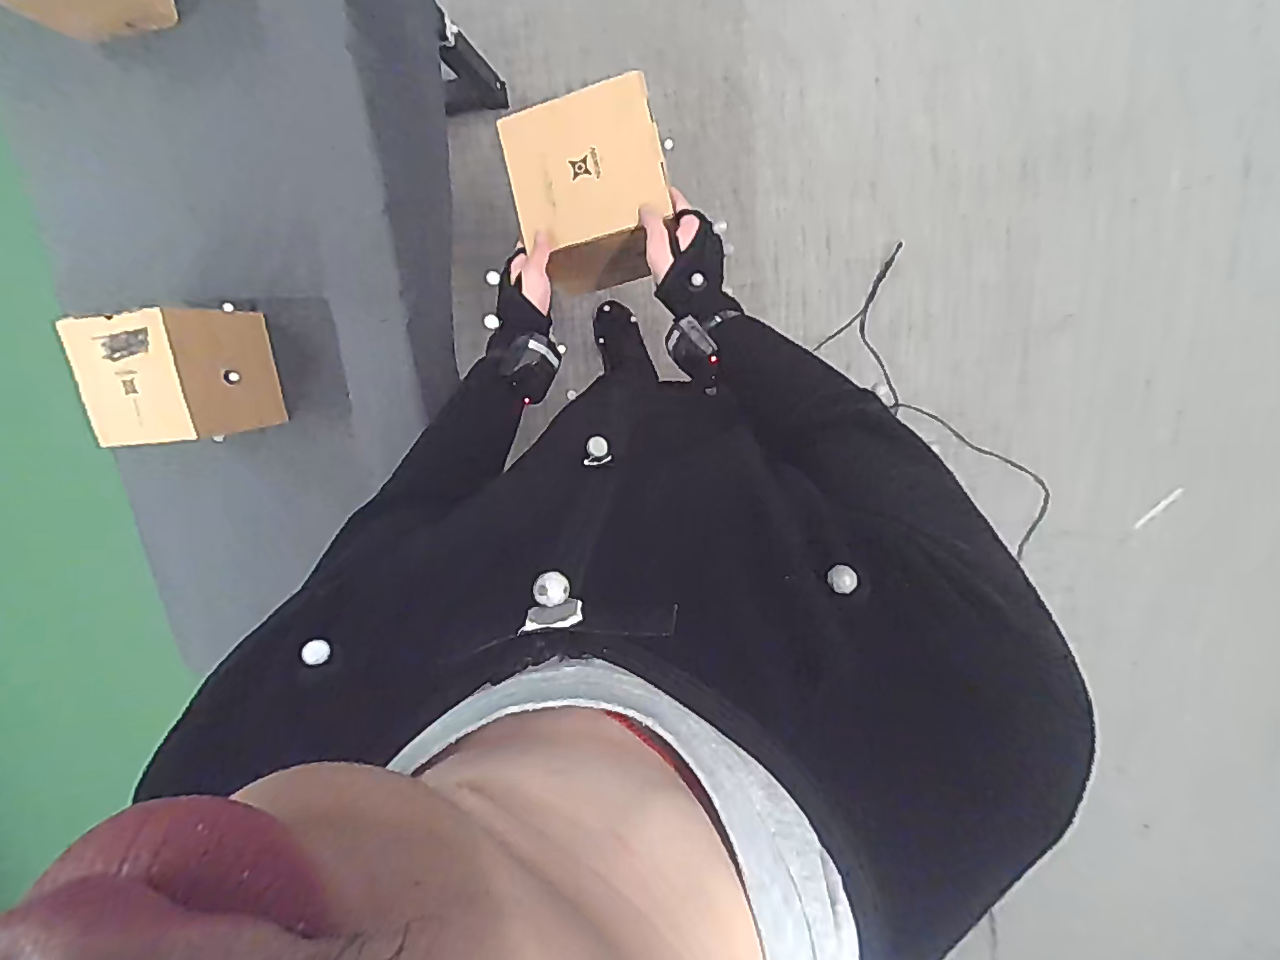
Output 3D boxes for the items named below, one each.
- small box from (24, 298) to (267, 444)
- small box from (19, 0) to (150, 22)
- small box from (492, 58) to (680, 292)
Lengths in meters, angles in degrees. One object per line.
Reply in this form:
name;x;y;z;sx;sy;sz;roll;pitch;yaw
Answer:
small box;-0.679;-0.155;0.767;0.168;0.176;0.179;-3;105;8
small box;-0.742;-0.694;0.634;0.168;0.176;0.179;-3;104;7
small box;-0.052;-0.354;0.664;0.179;0.176;0.168;-13;90;10
